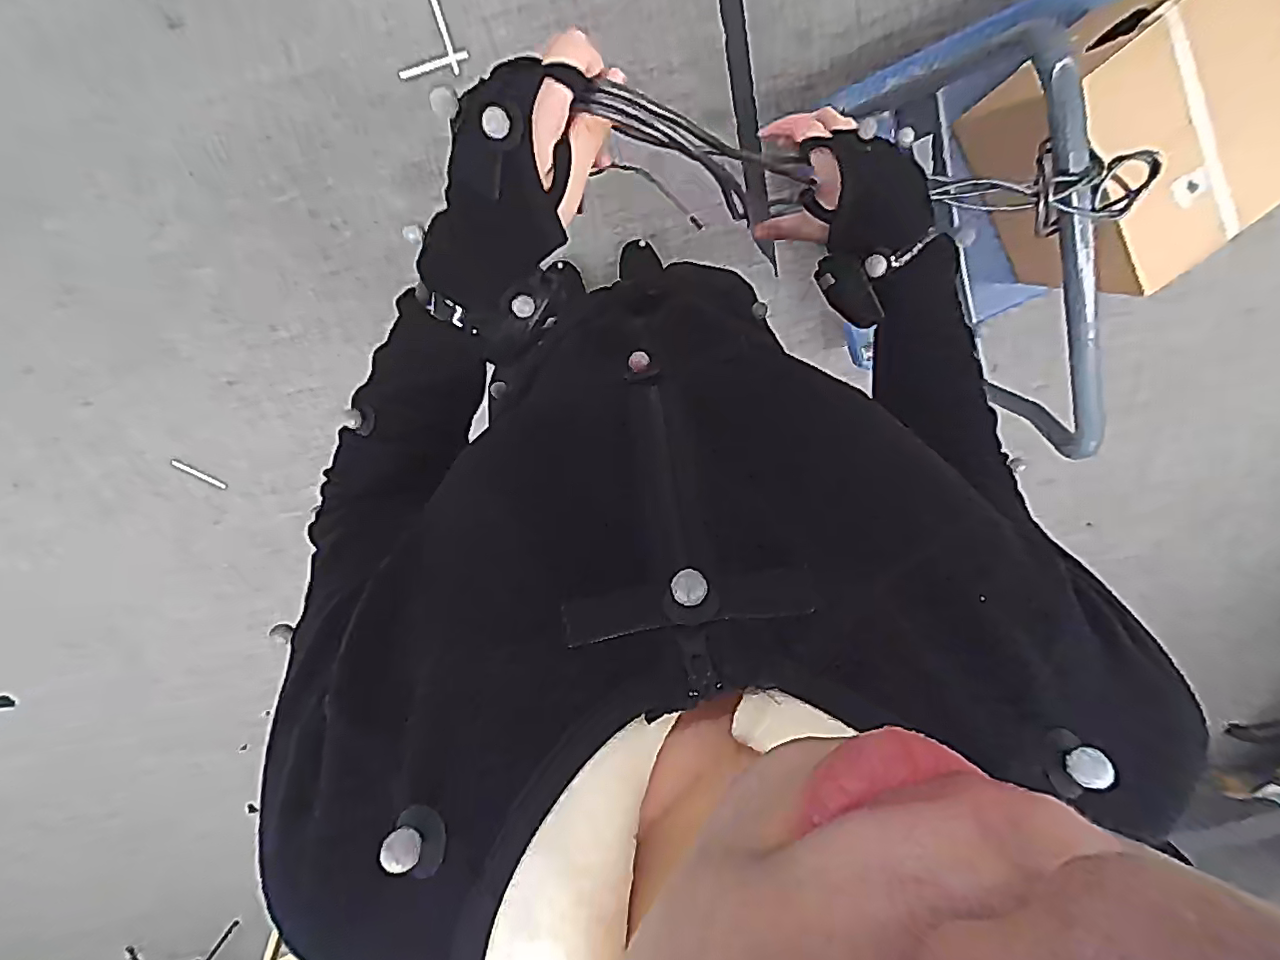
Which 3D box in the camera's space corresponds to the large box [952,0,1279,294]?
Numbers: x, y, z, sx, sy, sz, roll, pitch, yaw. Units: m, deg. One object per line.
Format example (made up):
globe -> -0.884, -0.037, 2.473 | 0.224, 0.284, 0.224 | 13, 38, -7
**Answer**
large box -> 0.885, -0.620, 1.014 | 0.320, 0.320, 0.408 | -38, 113, 12
